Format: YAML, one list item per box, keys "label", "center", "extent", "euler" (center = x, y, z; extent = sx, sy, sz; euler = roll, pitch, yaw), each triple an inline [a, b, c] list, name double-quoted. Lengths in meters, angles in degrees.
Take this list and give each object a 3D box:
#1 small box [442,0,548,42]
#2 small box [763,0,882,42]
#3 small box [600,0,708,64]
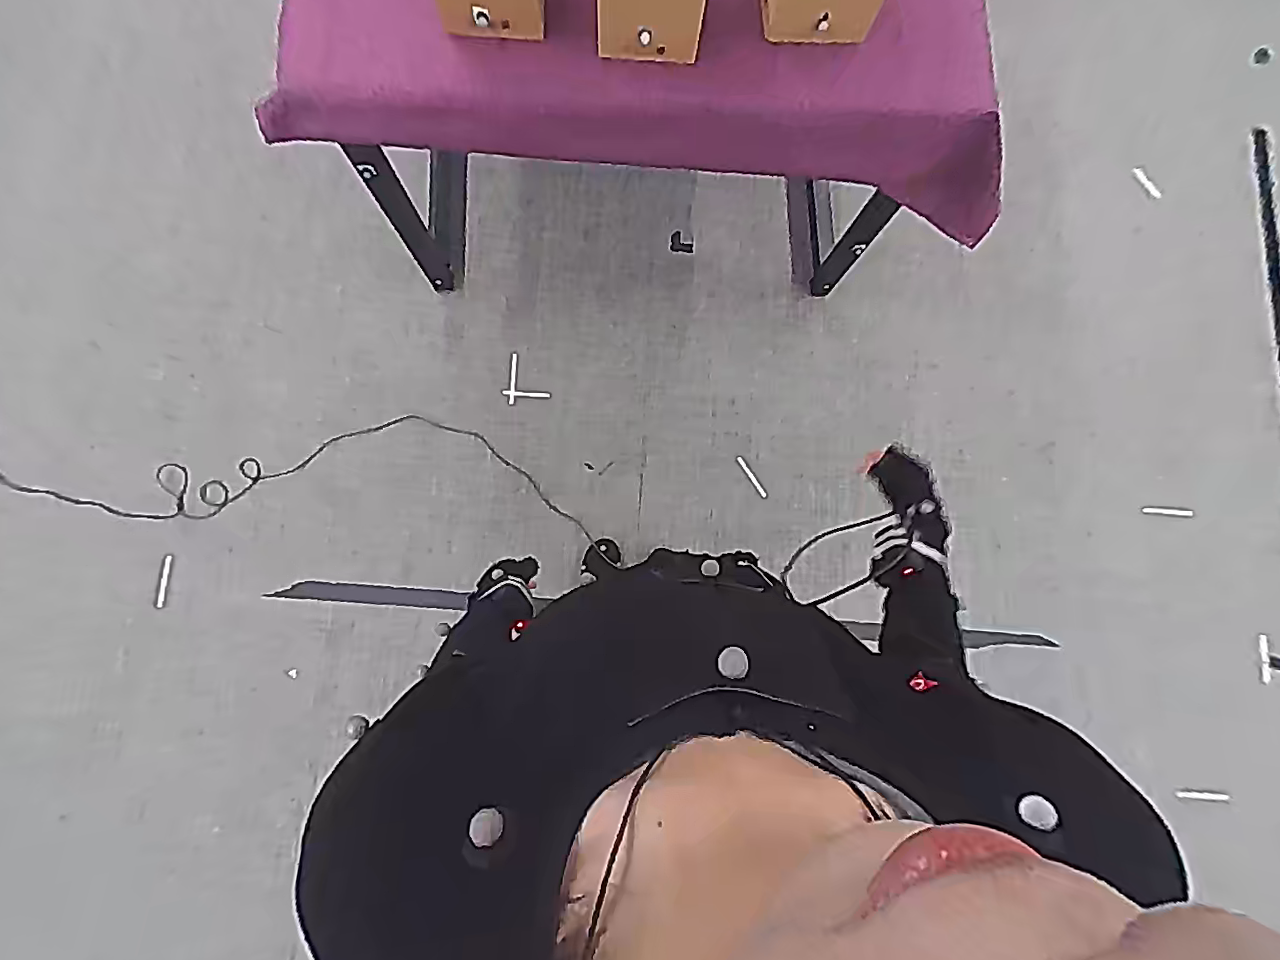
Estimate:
- label: "small box"
  center: [-0.235, -0.836, 0.839]
  extent: [0.168, 0.176, 0.179]
  euler: [-1, 83, -2]
- label: "small box"
  center: [0.307, -0.850, 0.869]
  extent: [0.179, 0.176, 0.168]
  euler: [-2, 82, -4]
- label: "small box"
  center: [0.022, -0.807, 0.847]
  extent: [0.168, 0.176, 0.179]
  euler: [2, 82, -2]
